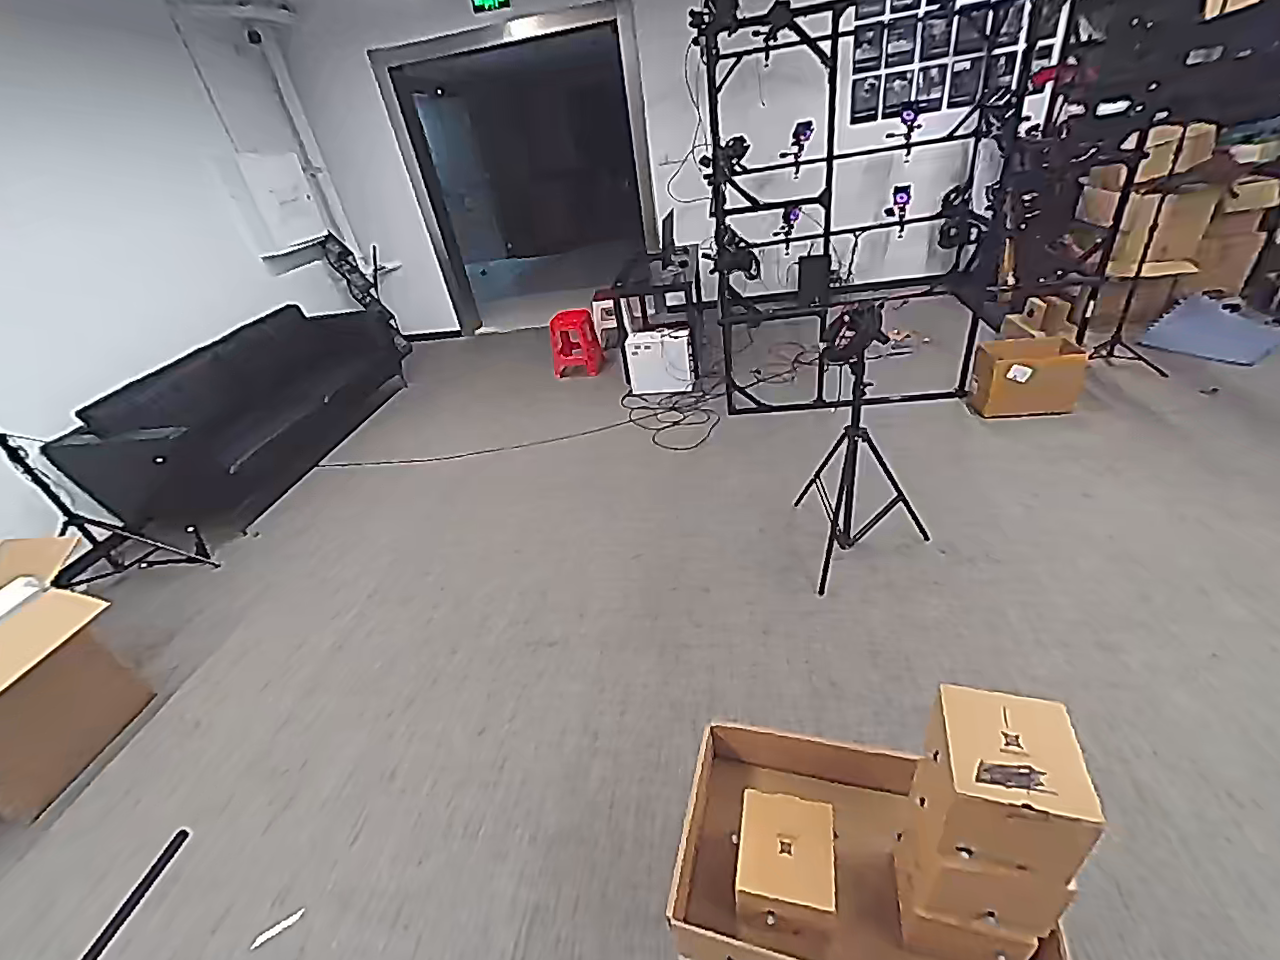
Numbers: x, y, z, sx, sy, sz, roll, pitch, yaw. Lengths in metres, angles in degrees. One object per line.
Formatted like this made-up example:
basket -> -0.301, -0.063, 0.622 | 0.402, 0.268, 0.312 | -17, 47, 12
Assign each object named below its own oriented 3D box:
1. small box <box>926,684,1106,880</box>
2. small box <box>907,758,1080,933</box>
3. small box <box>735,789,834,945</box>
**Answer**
small box -> 0.521, 0.431, 0.780 | 0.168, 0.176, 0.179 | 4, 34, 19
small box -> 0.540, 0.577, 0.856 | 0.179, 0.176, 0.168 | 2, 34, 16
small box -> 0.274, 0.722, 1.011 | 0.168, 0.176, 0.179 | 1, 33, 16
